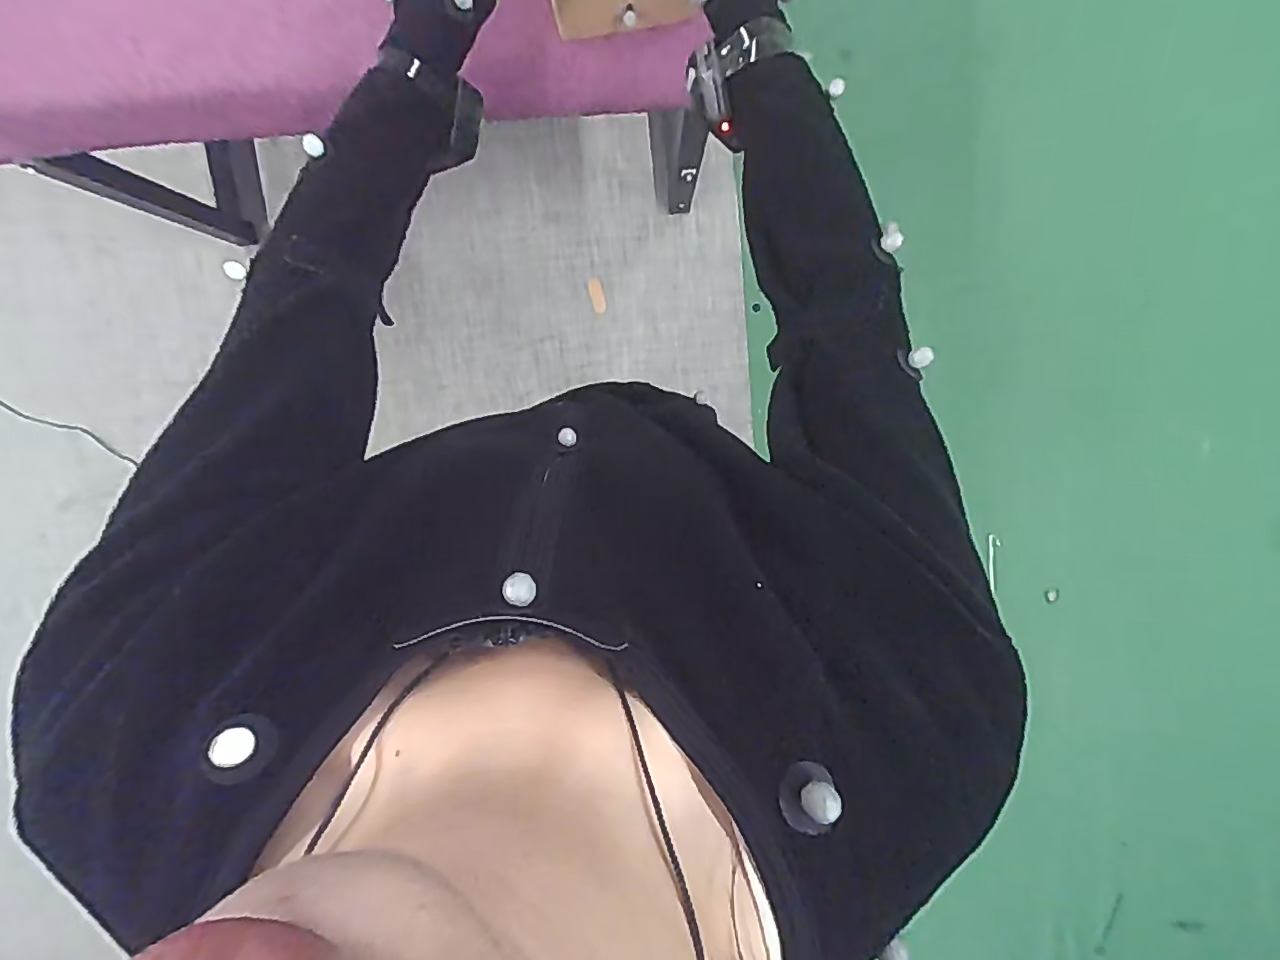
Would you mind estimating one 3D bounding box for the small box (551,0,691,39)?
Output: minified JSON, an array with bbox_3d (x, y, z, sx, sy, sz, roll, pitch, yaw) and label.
[{"bbox_3d":[-0.026,-0.633,0.590,0.179,0.176,0.168,-8,99,2],"label":"small box"}]
